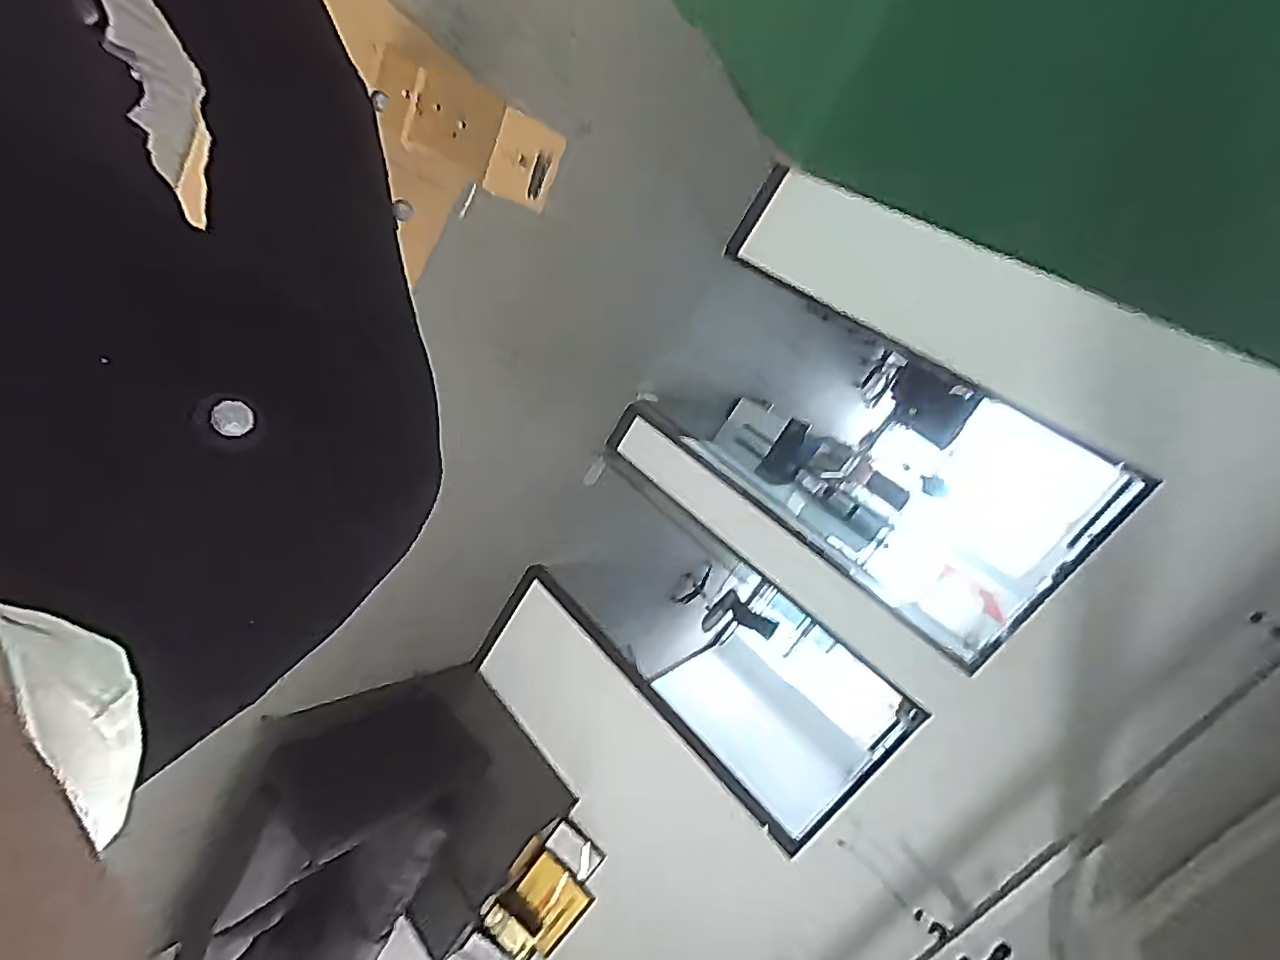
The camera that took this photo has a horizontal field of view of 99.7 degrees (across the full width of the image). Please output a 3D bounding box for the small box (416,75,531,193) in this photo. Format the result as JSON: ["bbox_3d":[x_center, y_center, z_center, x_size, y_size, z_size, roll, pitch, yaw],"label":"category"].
[{"bbox_3d":[-0.405,-0.831,1.298,0.179,0.176,0.168,-5,131,-57],"label":"small box"}]

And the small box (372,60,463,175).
[{"bbox_3d":[-0.535,-0.913,1.361,0.179,0.176,0.168,-5,131,-56],"label":"small box"}]
